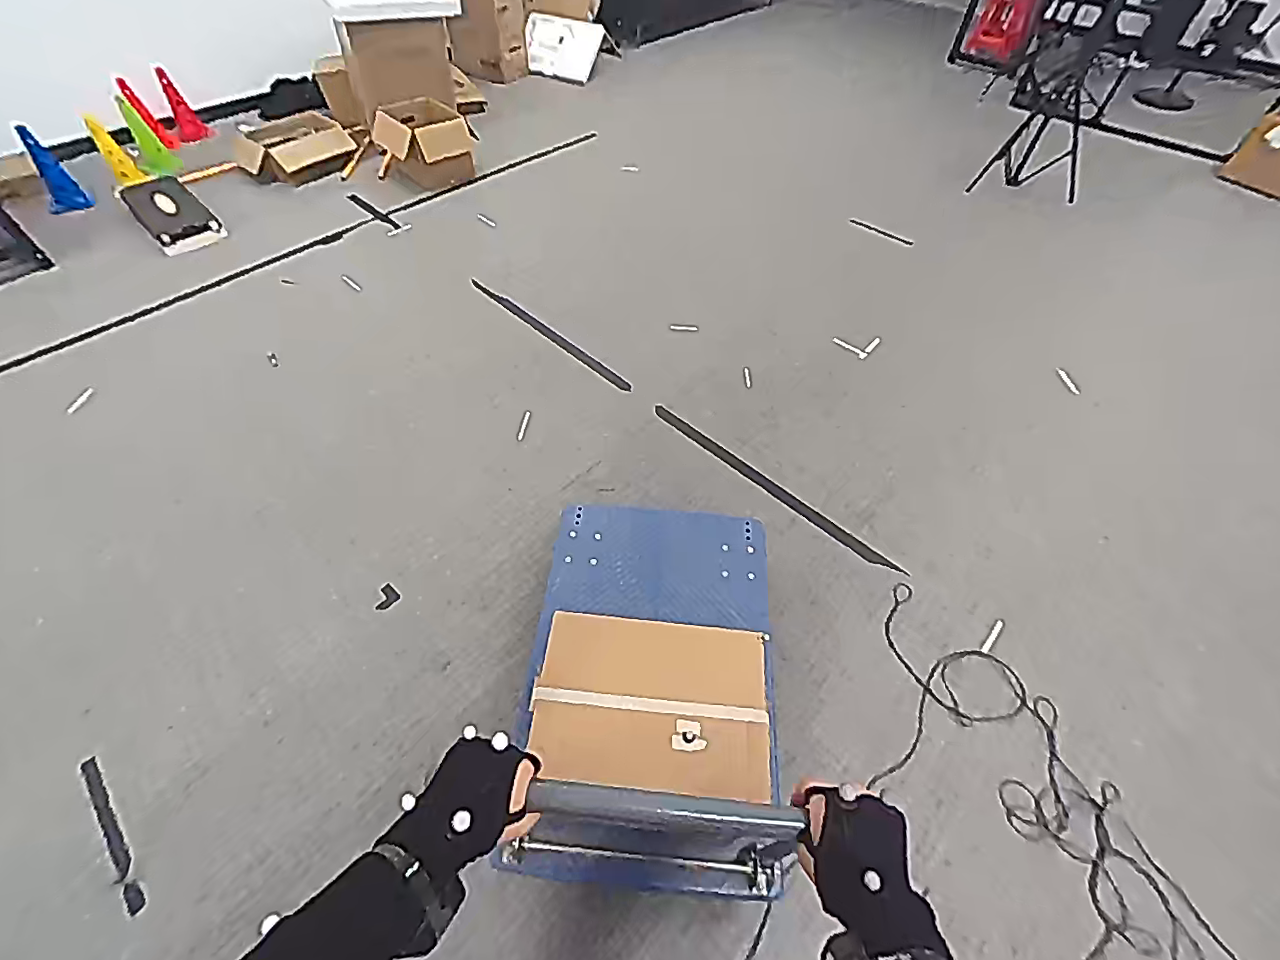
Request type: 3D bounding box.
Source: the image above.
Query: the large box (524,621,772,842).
[{"bbox_3d":[0.014,0.497,1.057,0.408,0.320,0.320,6,53,1],"label":"large box"}]
